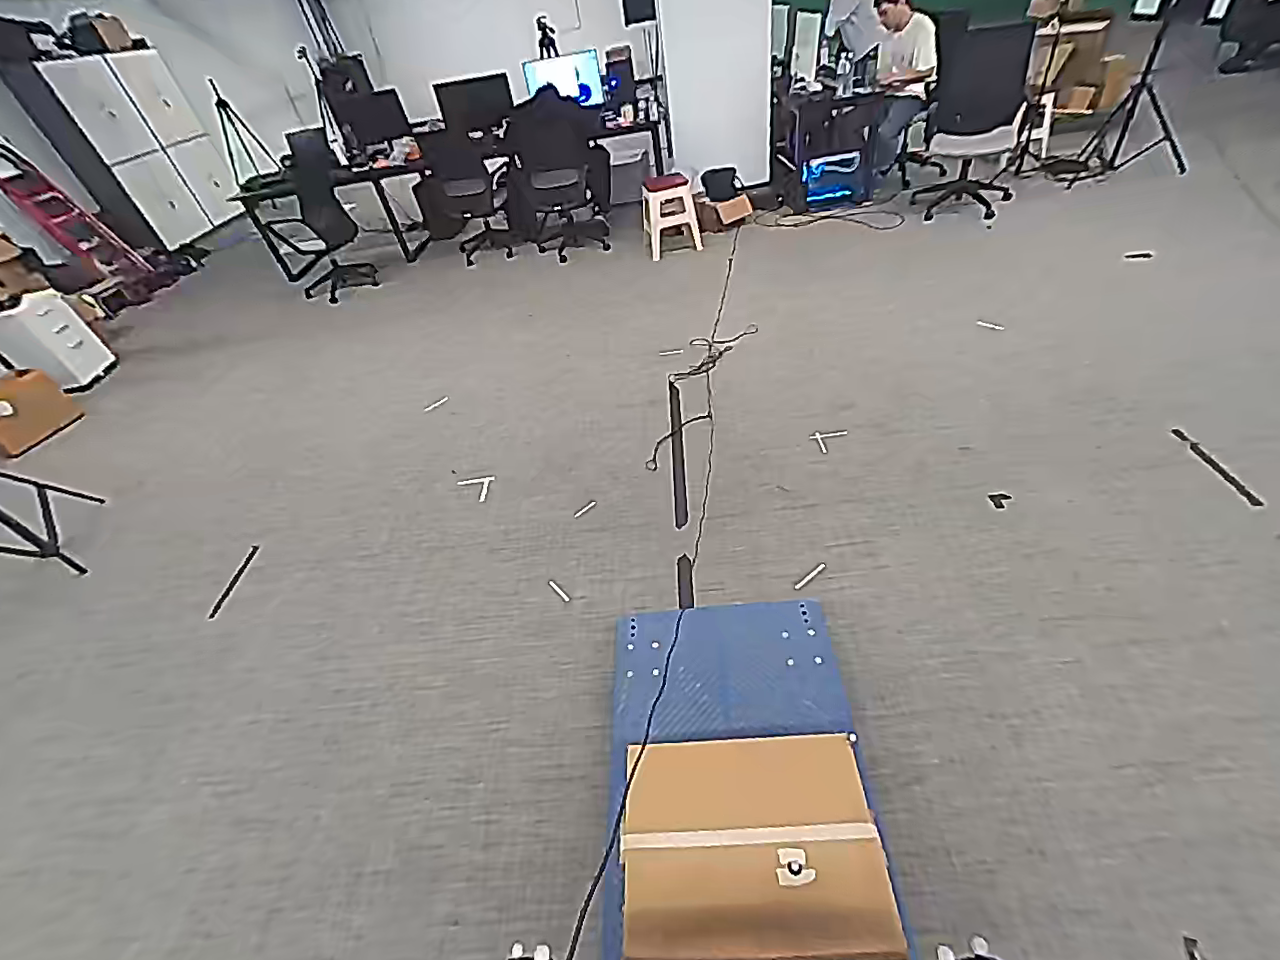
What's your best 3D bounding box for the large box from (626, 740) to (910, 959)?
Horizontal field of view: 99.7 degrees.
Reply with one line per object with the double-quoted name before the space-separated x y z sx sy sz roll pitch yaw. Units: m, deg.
"large box" 0.193 0.697 0.961 0.408 0.320 0.320 -6 42 5
